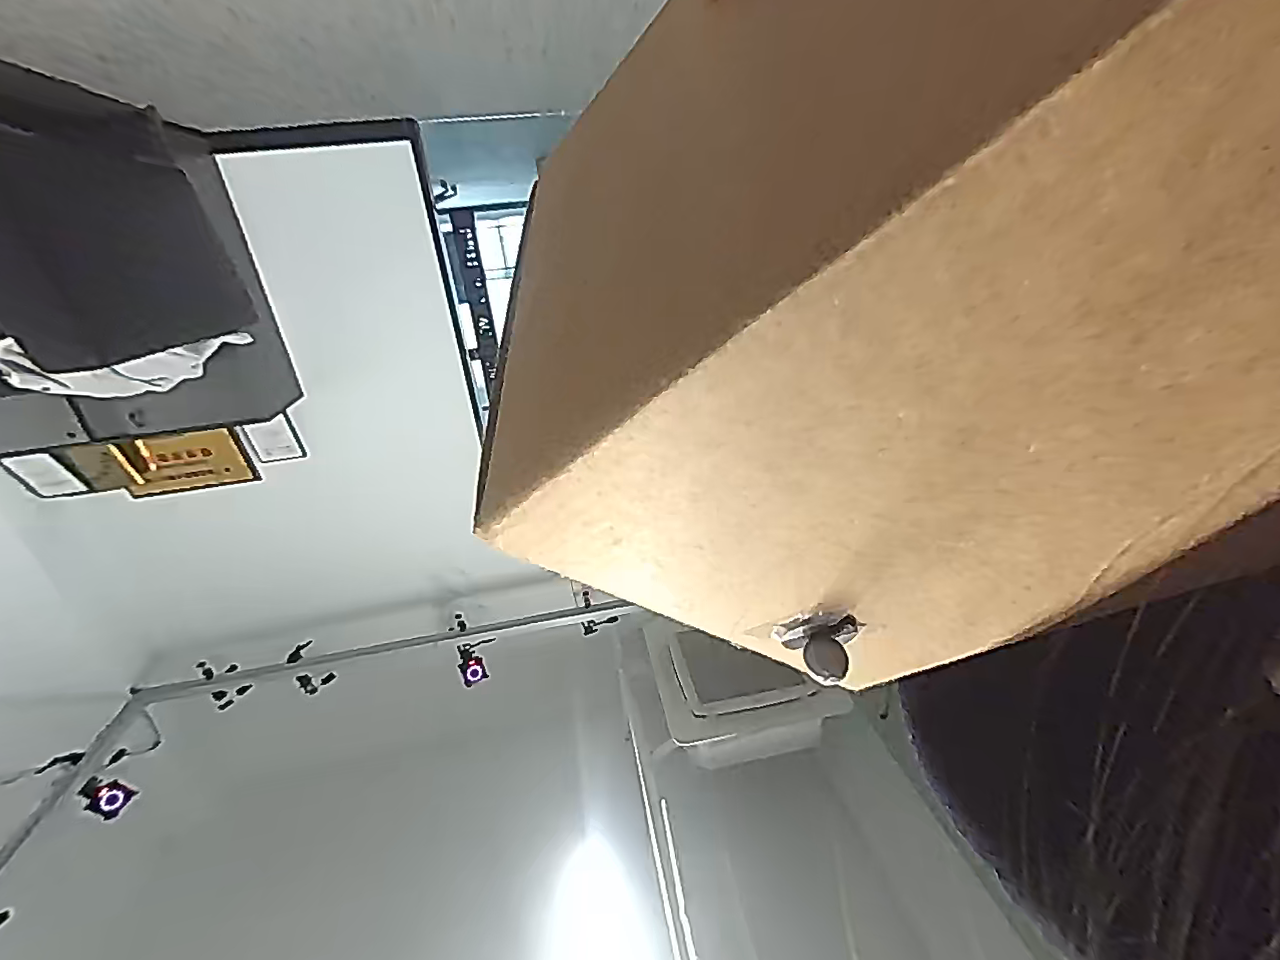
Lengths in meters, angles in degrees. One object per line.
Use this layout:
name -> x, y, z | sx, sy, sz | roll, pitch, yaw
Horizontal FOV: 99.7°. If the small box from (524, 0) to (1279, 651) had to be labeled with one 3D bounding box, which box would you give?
small box -> 0.084, -0.068, 0.176 | 0.176, 0.168, 0.179 | -34, -137, 32
